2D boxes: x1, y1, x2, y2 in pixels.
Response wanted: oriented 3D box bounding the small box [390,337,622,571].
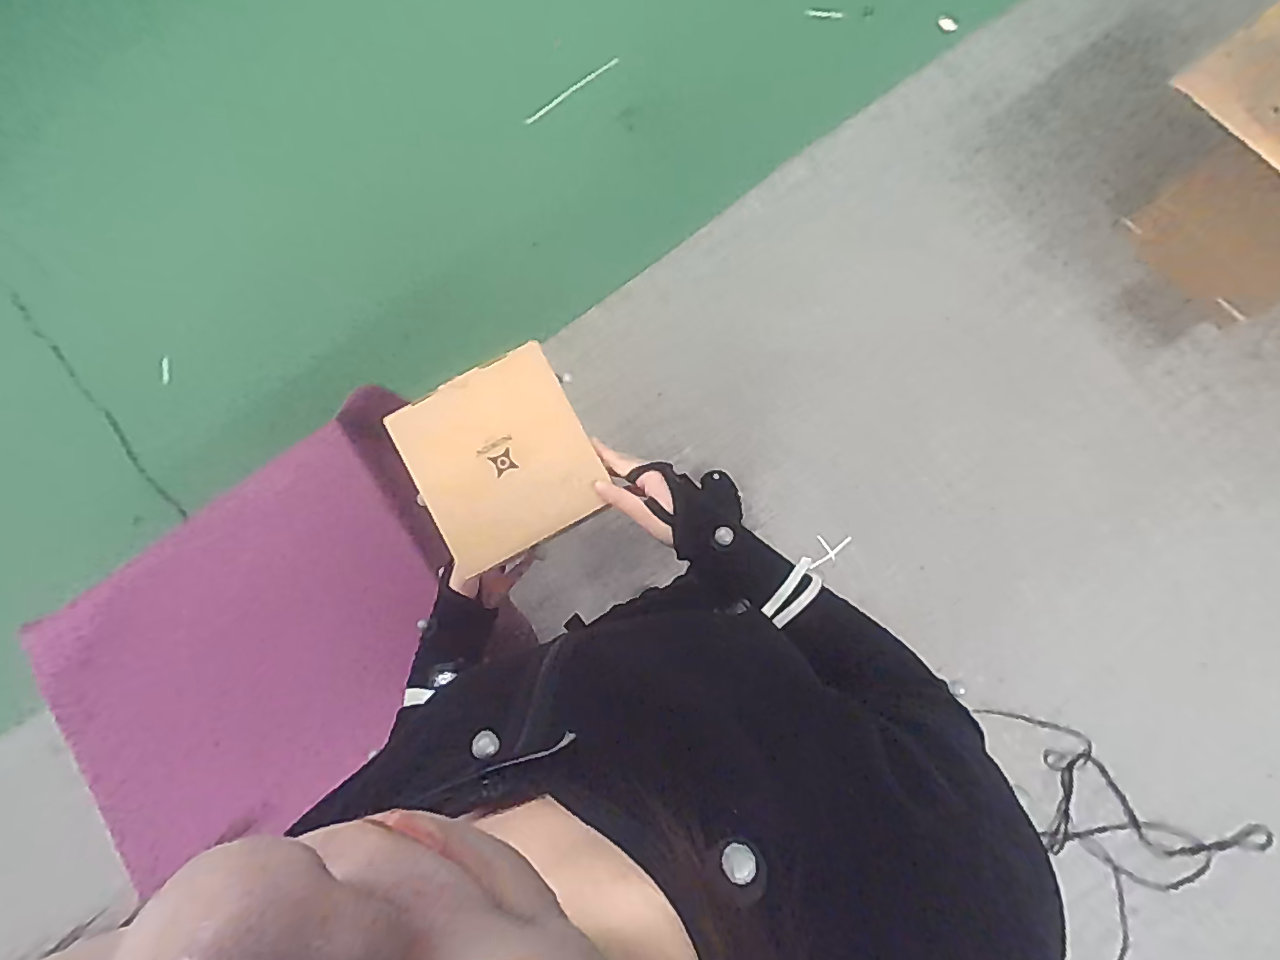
[{"bbox_3d":[-0.127,-0.022,0.589,0.168,0.176,0.179,-27,86,-2],"label":"small box"}]
